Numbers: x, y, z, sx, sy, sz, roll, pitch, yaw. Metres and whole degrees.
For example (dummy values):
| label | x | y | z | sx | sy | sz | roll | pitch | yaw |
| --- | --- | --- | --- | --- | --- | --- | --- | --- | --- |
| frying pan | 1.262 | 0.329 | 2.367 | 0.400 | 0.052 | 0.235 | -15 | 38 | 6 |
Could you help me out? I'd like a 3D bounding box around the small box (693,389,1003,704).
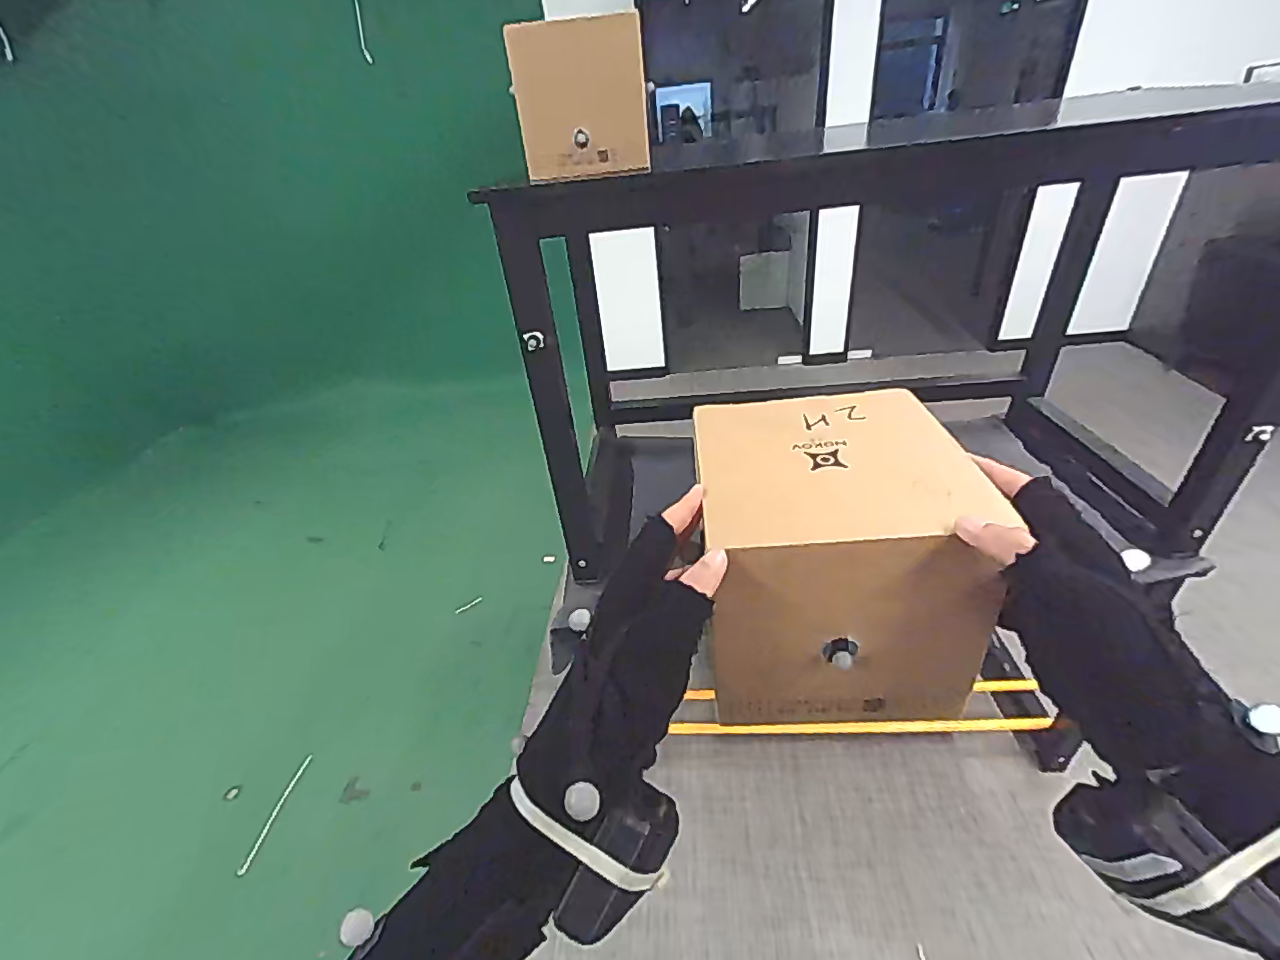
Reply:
| label | x | y | z | sx | sy | sz | roll | pitch | yaw |
| --- | --- | --- | --- | --- | --- | --- | --- | --- | --- |
| small box | 0.130 | 0.049 | 0.408 | 0.168 | 0.176 | 0.179 | -4 | 33 | 6 |
